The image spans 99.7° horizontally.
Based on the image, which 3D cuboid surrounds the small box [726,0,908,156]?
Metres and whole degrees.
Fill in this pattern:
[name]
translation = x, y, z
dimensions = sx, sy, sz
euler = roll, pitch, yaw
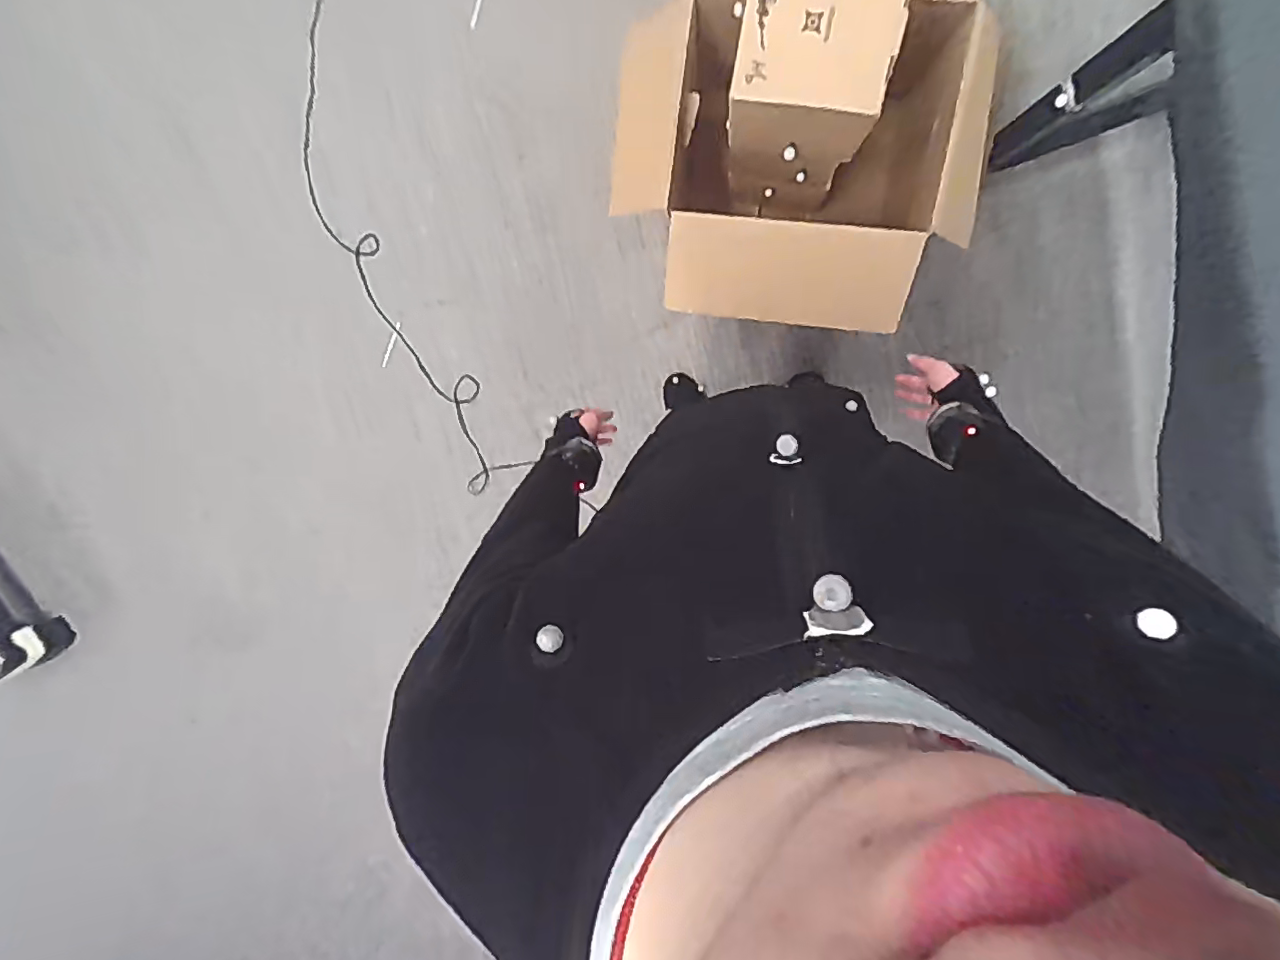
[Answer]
[small box]
translation = 0.211, -0.528, 0.676
dimensions = 0.179, 0.176, 0.168
euler = 12, 105, 5
